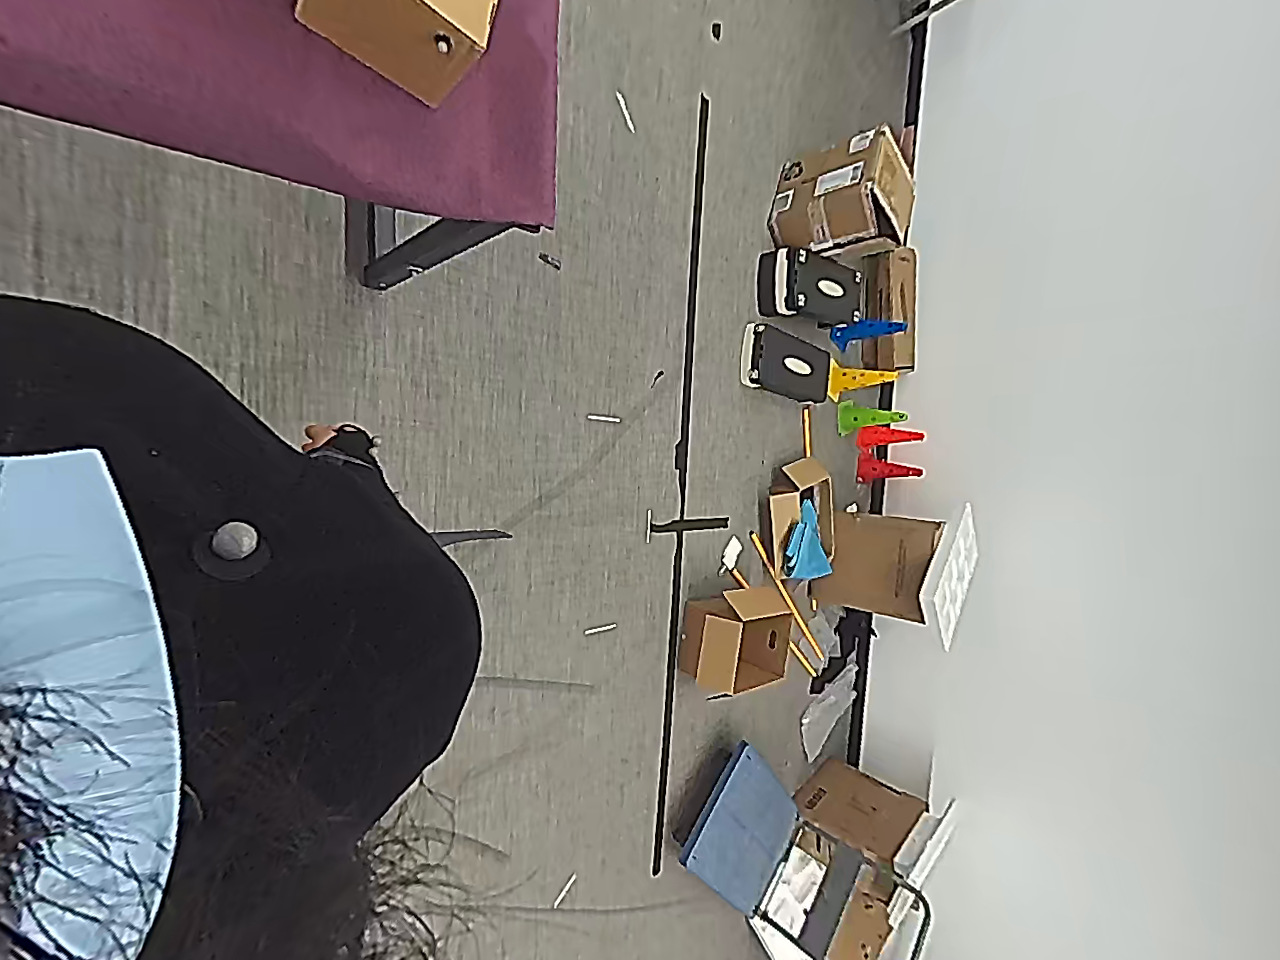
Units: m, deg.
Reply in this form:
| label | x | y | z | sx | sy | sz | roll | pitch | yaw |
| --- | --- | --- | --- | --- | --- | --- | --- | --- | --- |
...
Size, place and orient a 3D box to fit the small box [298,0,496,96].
| label | x | y | z | sx | sy | sz | roll | pitch | yaw |
| --- | --- | --- | --- | --- | --- | --- | --- | --- | --- |
| small box | -0.285 | -0.615 | 0.650 | 0.179 | 0.176 | 0.168 | 13 | 86 | -44 |
